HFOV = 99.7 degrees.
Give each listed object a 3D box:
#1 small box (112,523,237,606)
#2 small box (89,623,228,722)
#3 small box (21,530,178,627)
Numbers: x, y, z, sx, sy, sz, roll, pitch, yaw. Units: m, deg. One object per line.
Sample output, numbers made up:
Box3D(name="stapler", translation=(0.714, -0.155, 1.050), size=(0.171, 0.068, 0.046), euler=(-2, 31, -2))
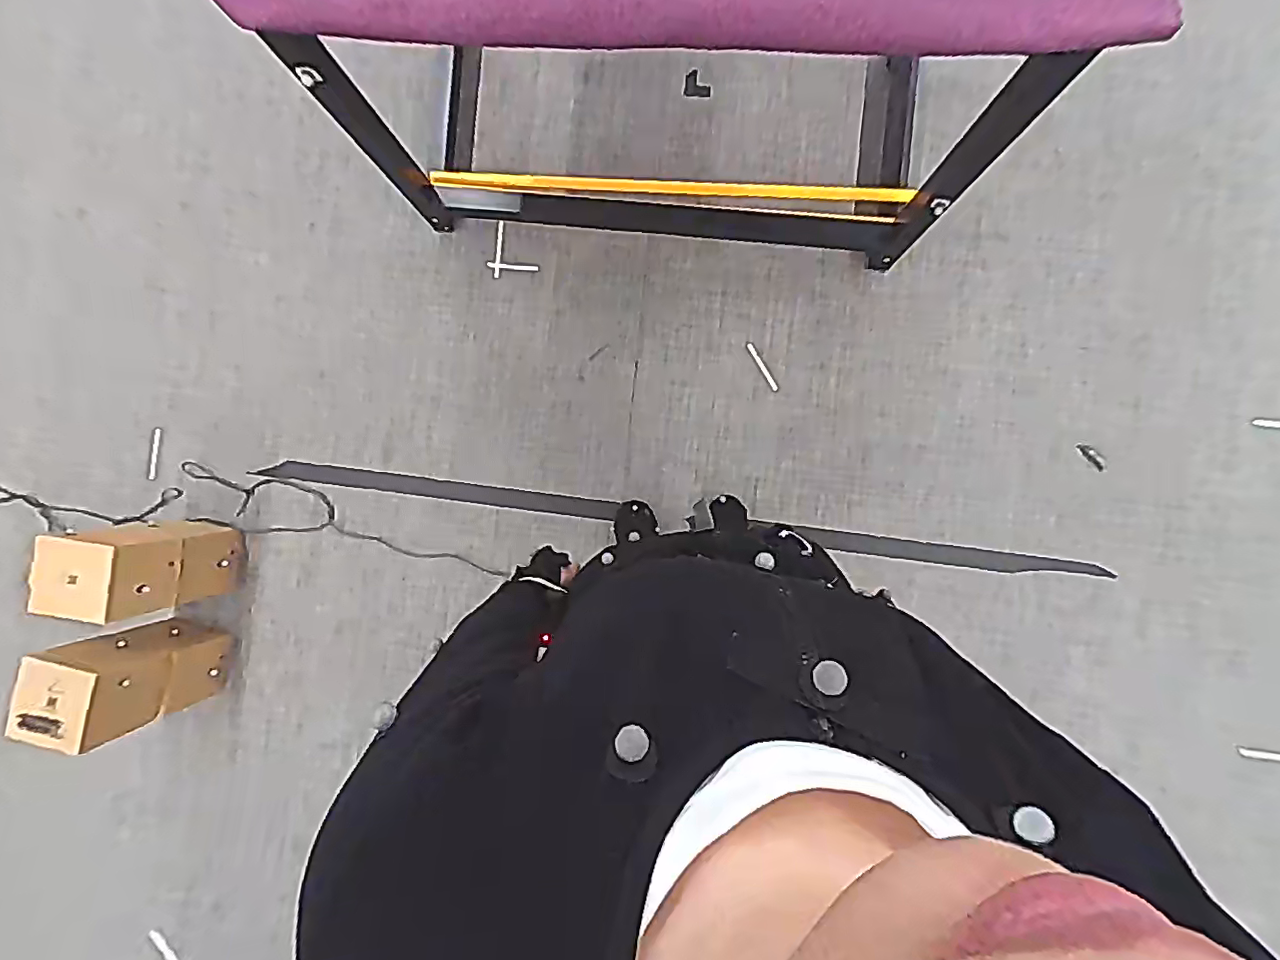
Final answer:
Box3D(name="small box", translation=(-1.153, 0.202, 1.337), size=(0.179, 0.176, 0.168), euler=(8, 91, 2))
Box3D(name="small box", translation=(-1.180, 0.466, 1.336), size=(0.179, 0.176, 0.168), euler=(13, 90, 1))
Box3D(name="small box", translation=(-1.161, 0.205, 1.175), size=(0.179, 0.176, 0.168), euler=(8, 91, 3))
